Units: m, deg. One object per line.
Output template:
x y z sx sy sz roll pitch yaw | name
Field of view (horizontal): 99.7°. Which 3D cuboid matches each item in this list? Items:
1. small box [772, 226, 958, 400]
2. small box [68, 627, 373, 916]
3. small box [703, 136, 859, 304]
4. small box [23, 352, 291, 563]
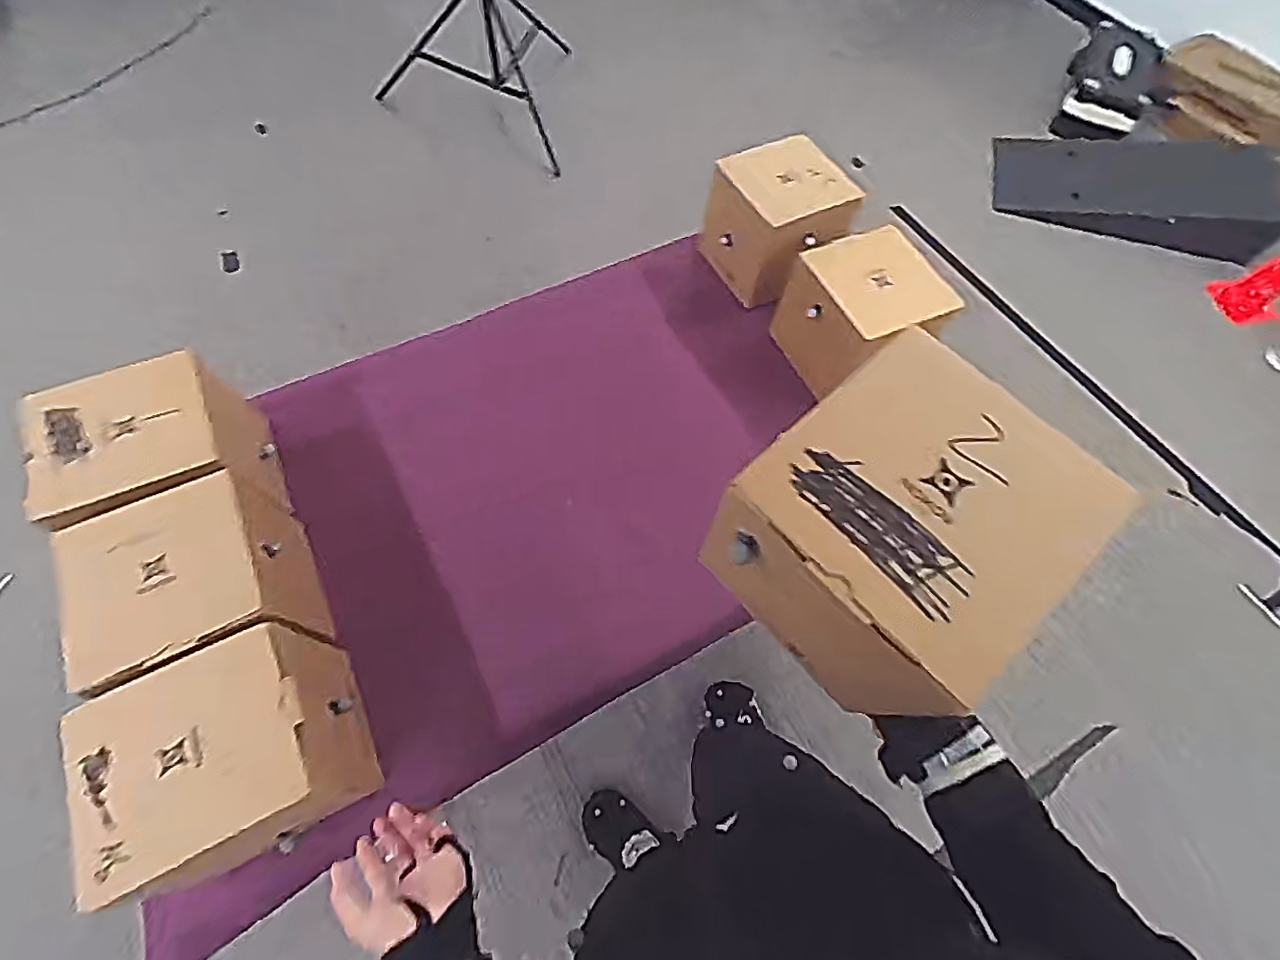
0.328 -0.244 0.827 0.168 0.176 0.179 -22 66 -12 | small box
-0.390 0.271 0.535 0.179 0.176 0.168 -24 67 -16 | small box
0.218 -0.425 0.900 0.179 0.176 0.168 -25 69 -15 | small box
-0.575 -0.019 0.662 0.179 0.176 0.168 -23 70 -15 | small box
